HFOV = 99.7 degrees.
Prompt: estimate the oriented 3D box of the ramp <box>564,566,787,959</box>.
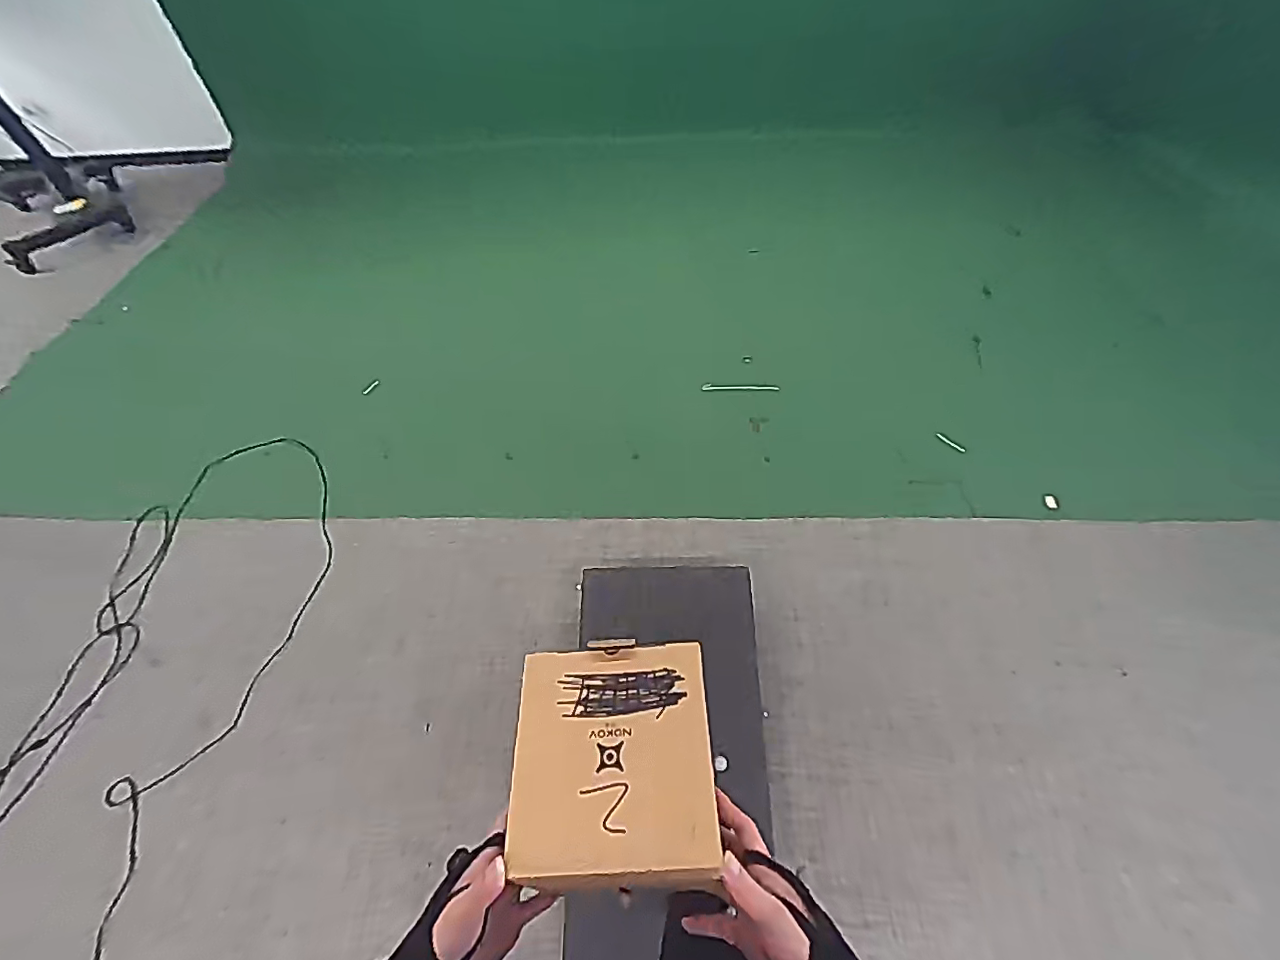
[{"bbox_3d":[0.077,0.699,1.353,0.509,0.206,0.991,-2,53,1],"label":"ramp"}]
